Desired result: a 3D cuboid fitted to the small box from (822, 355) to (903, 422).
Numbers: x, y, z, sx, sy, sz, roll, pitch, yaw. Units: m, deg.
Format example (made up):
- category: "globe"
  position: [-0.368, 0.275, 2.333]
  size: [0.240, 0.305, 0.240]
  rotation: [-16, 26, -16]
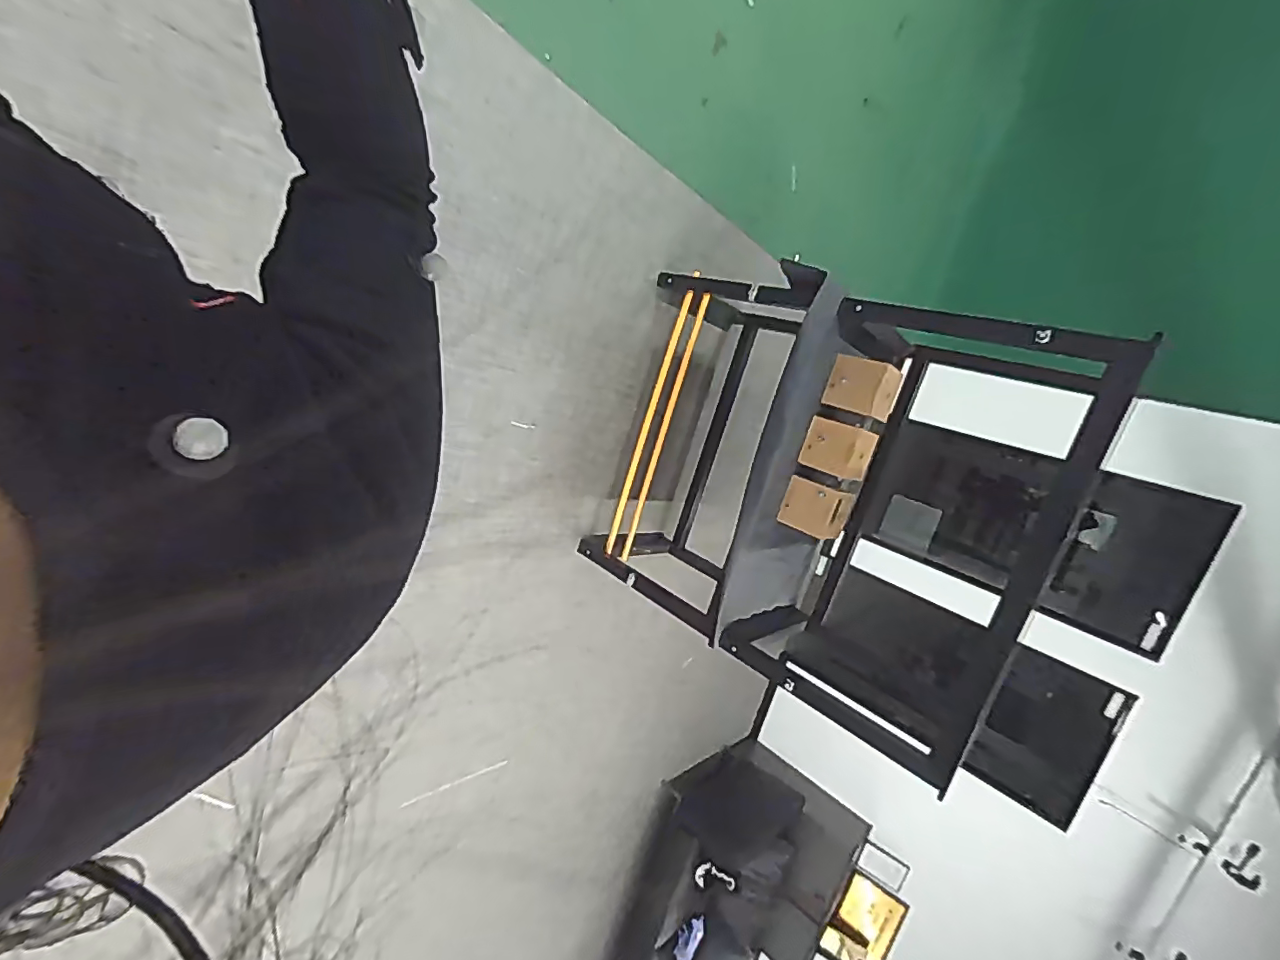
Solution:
- category: "small box"
  position: [0.723, -0.300, 1.763]
  size: [0.179, 0.176, 0.168]
  rotation: [4, 107, -50]
